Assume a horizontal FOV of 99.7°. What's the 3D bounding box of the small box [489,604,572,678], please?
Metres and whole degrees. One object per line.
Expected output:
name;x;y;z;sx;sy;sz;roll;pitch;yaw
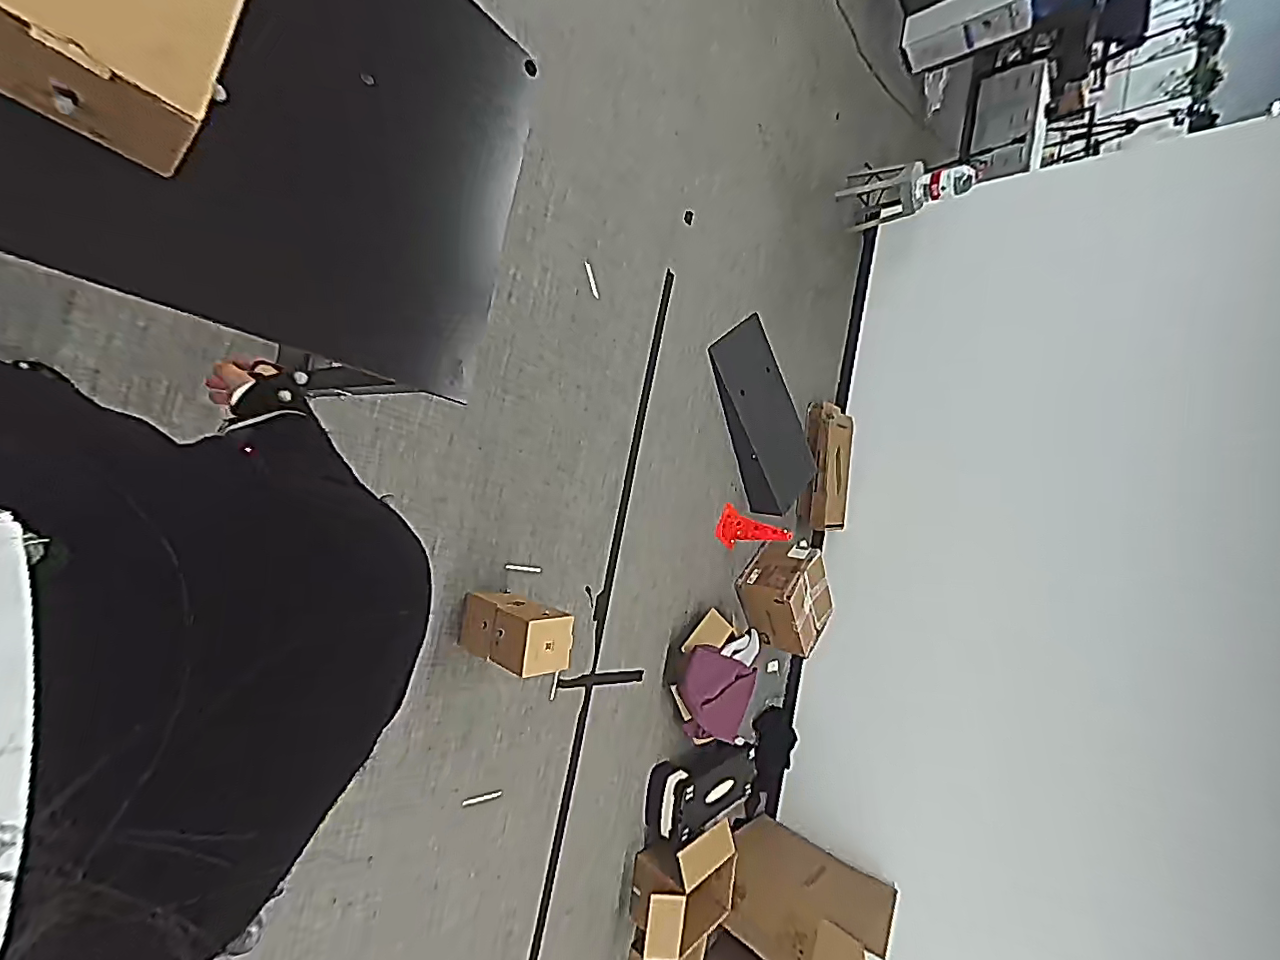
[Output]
small box;-0.333;0.480;1.643;0.179;0.176;0.168;8;88;-47

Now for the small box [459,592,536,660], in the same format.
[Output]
small box;-0.461;0.463;1.742;0.168;0.176;0.179;13;86;-48
